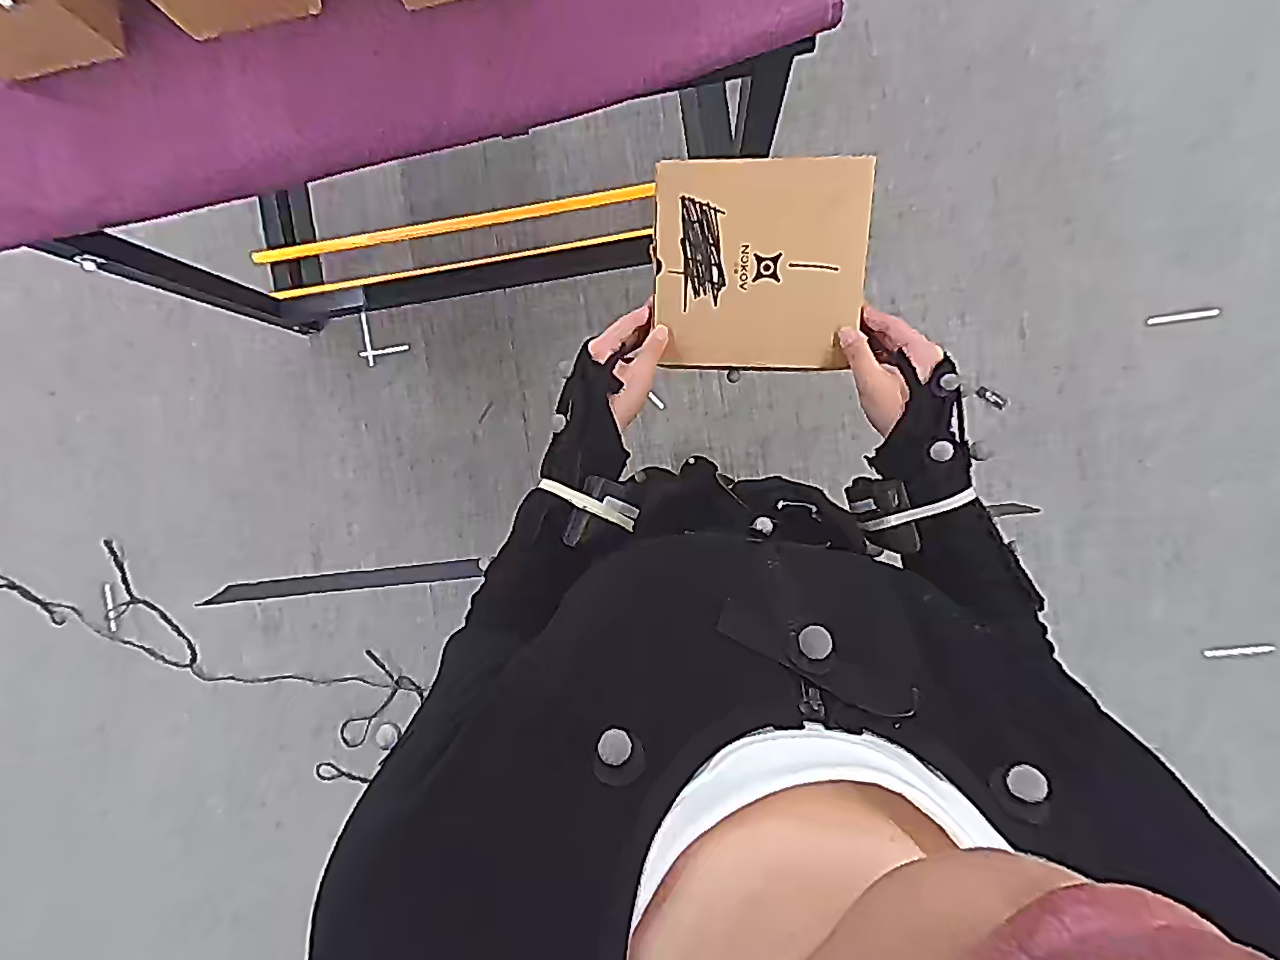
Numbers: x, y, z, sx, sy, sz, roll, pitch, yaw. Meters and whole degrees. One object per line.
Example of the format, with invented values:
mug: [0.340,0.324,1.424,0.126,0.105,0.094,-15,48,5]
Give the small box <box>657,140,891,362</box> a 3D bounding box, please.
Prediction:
small box: [0.113,-0.201,0.516,0.179,0.176,0.168,3,102,6]
